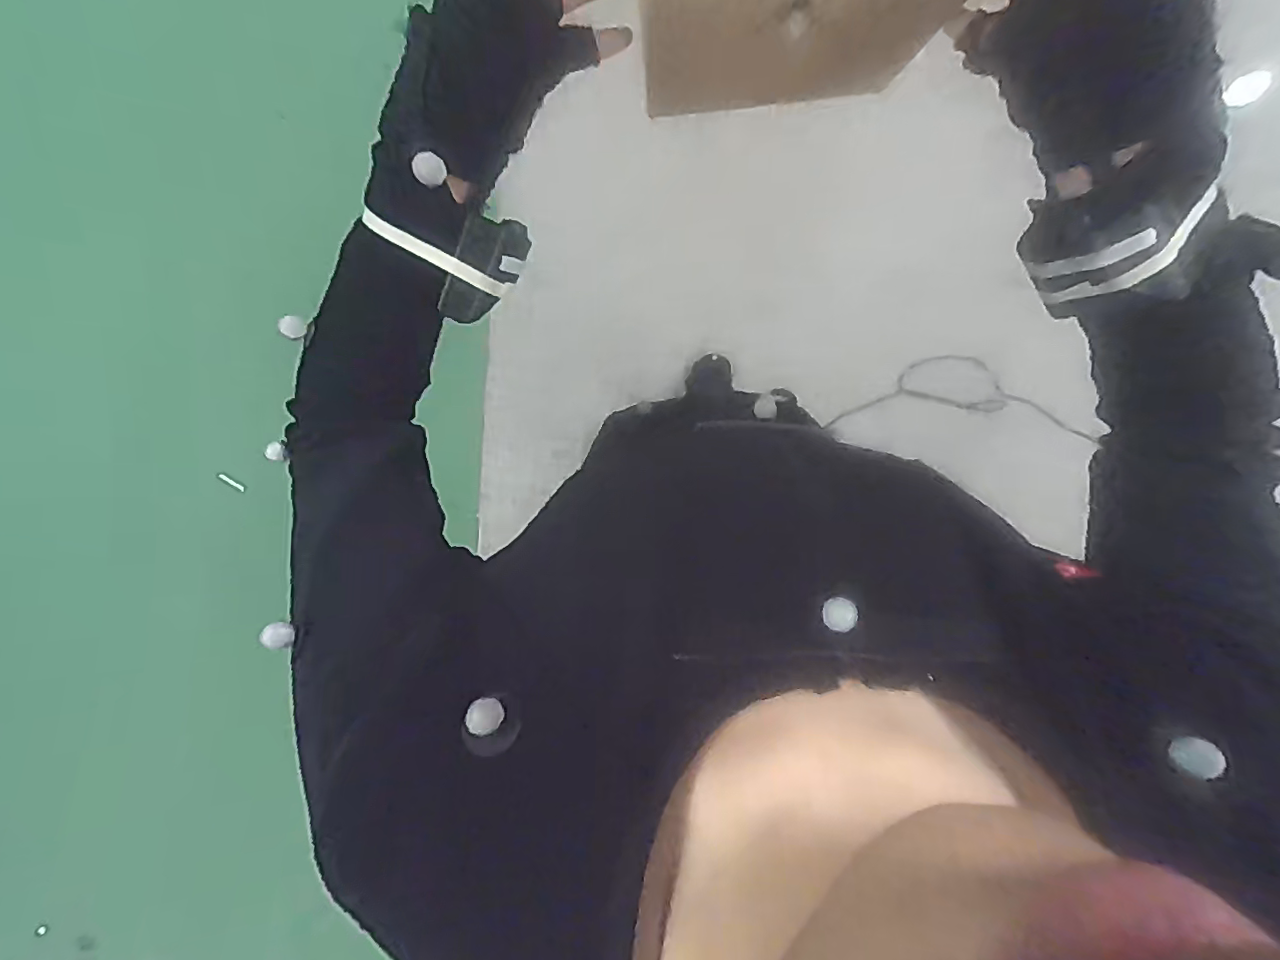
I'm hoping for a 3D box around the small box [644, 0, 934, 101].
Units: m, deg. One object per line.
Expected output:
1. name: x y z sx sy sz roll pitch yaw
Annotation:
1. small box: 0.086 -0.346 0.307 0.179 0.176 0.168 -5 104 1
